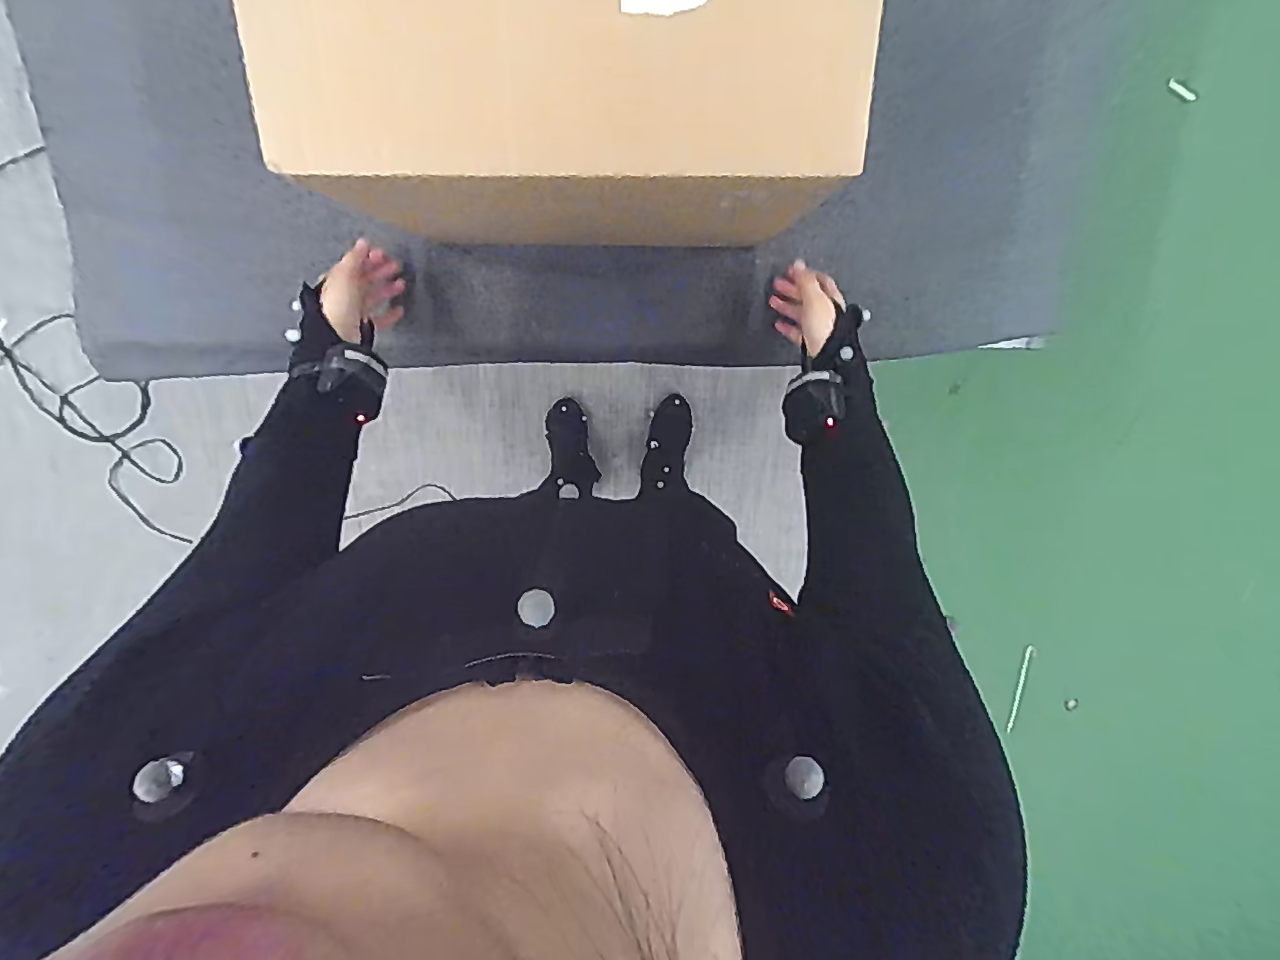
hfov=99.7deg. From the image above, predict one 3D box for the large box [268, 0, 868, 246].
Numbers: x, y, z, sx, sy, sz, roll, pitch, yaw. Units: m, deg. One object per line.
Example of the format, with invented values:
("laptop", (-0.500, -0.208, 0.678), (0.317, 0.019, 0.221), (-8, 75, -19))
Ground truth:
("large box", (-0.049, -0.404, 0.487), (0.408, 0.320, 0.320), (0, 106, -1))
